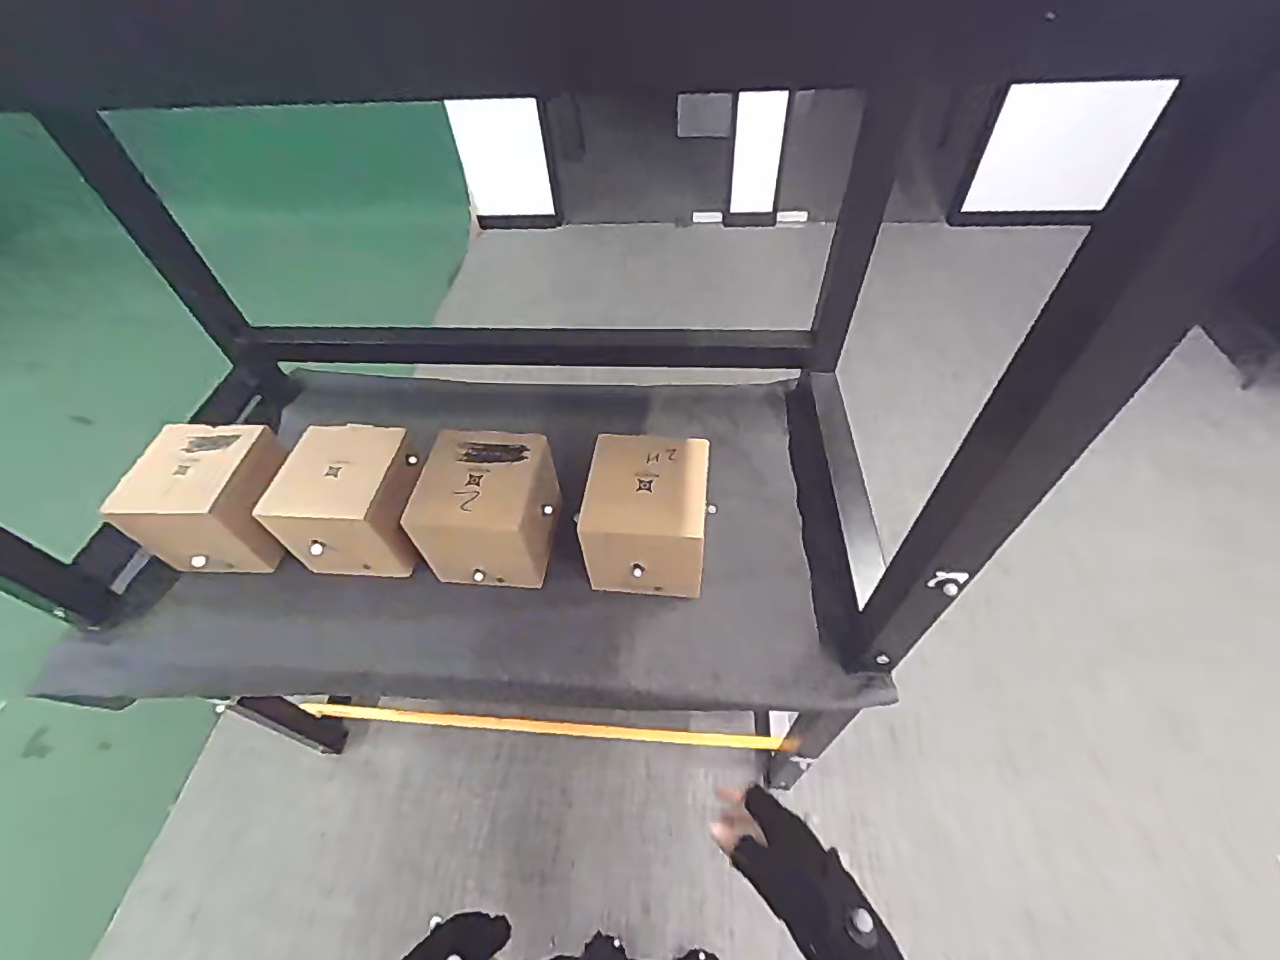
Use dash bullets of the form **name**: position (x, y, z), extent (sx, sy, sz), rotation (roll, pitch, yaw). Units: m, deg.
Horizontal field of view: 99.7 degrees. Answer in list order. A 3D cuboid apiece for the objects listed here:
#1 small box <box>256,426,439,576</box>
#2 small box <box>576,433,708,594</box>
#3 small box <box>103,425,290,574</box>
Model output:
- **small box**: position (-0.441, 0.036, 0.854), extent (0.168, 0.176, 0.179), rotation (2, 50, 5)
- **small box**: position (0.012, 0.053, 0.807), extent (0.168, 0.176, 0.179), rotation (4, 50, 6)
- **small box**: position (-0.667, 0.031, 0.868), extent (0.168, 0.176, 0.179), rotation (0, 51, 4)
